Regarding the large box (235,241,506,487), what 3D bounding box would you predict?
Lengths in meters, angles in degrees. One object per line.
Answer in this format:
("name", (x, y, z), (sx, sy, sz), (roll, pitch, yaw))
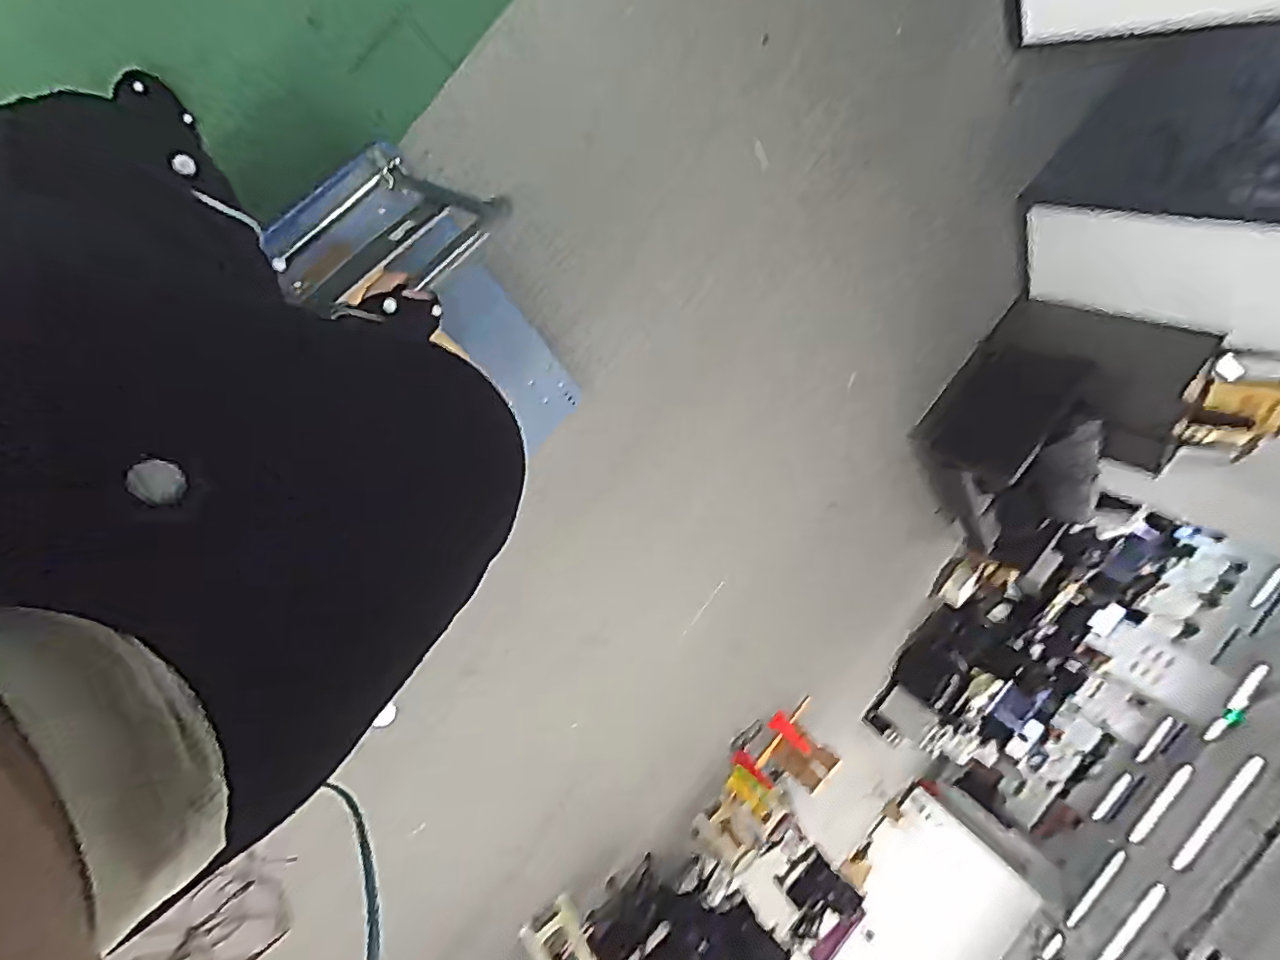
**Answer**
("large box", (-0.597, -0.258, 1.222), (0.320, 0.320, 0.408), (-47, 138, -6))
